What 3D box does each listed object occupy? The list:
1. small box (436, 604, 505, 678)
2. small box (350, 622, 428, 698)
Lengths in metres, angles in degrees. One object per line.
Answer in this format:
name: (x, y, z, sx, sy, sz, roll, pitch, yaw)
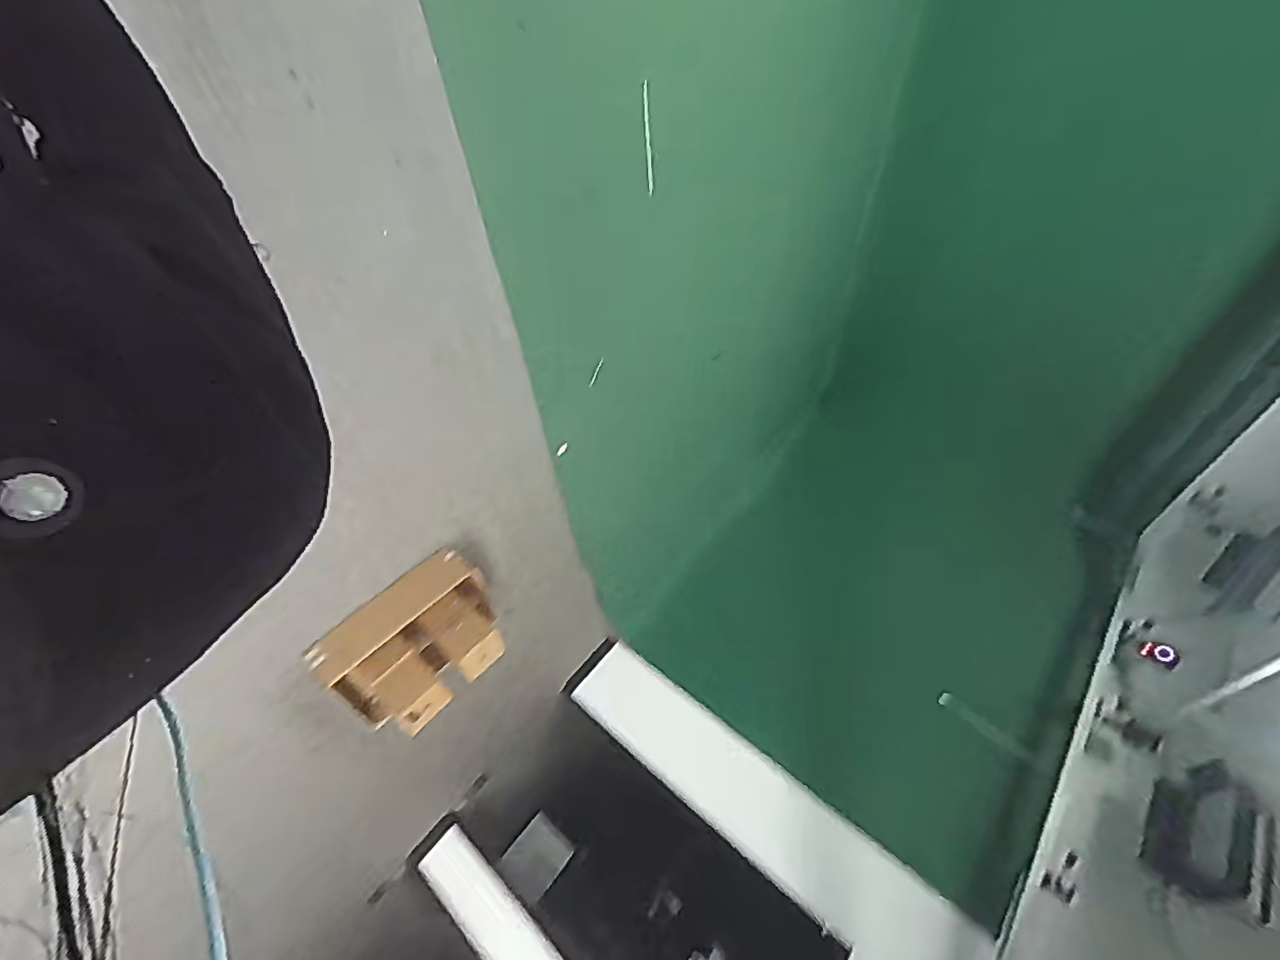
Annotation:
small box: (-0.646, 0.609, 2.064, 0.168, 0.176, 0.179, -40, 145, -31)
small box: (-0.934, 0.664, 2.011, 0.179, 0.176, 0.168, -44, 146, -29)
